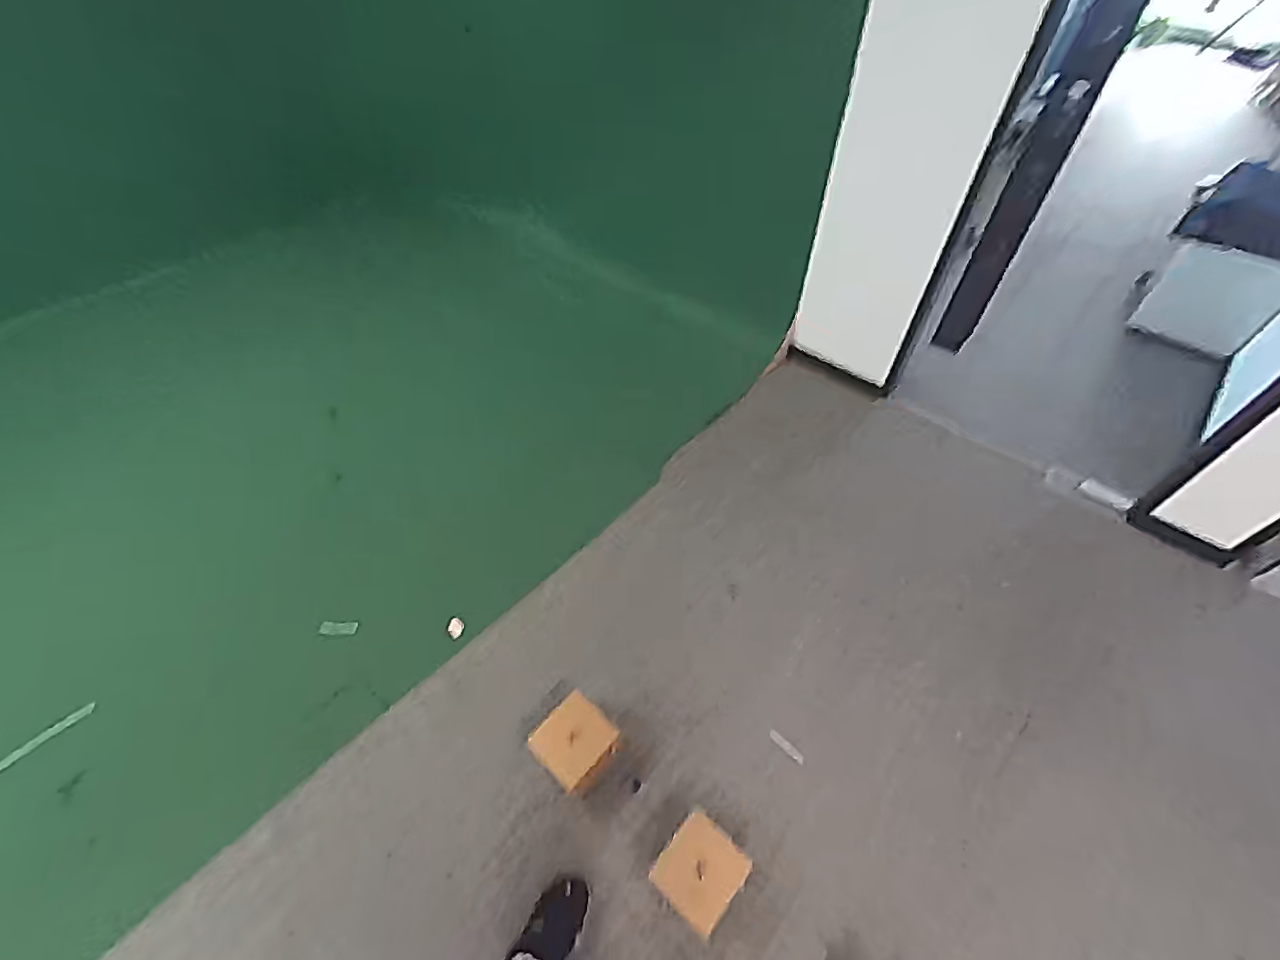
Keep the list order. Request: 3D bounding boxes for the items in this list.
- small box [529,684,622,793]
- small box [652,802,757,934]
[{"bbox_3d":[-0.157,0.674,1.402,0.168,0.176,0.179,34,59,26],"label":"small box"},{"bbox_3d":[0.140,0.880,1.230,0.168,0.176,0.179,35,60,26],"label":"small box"}]
